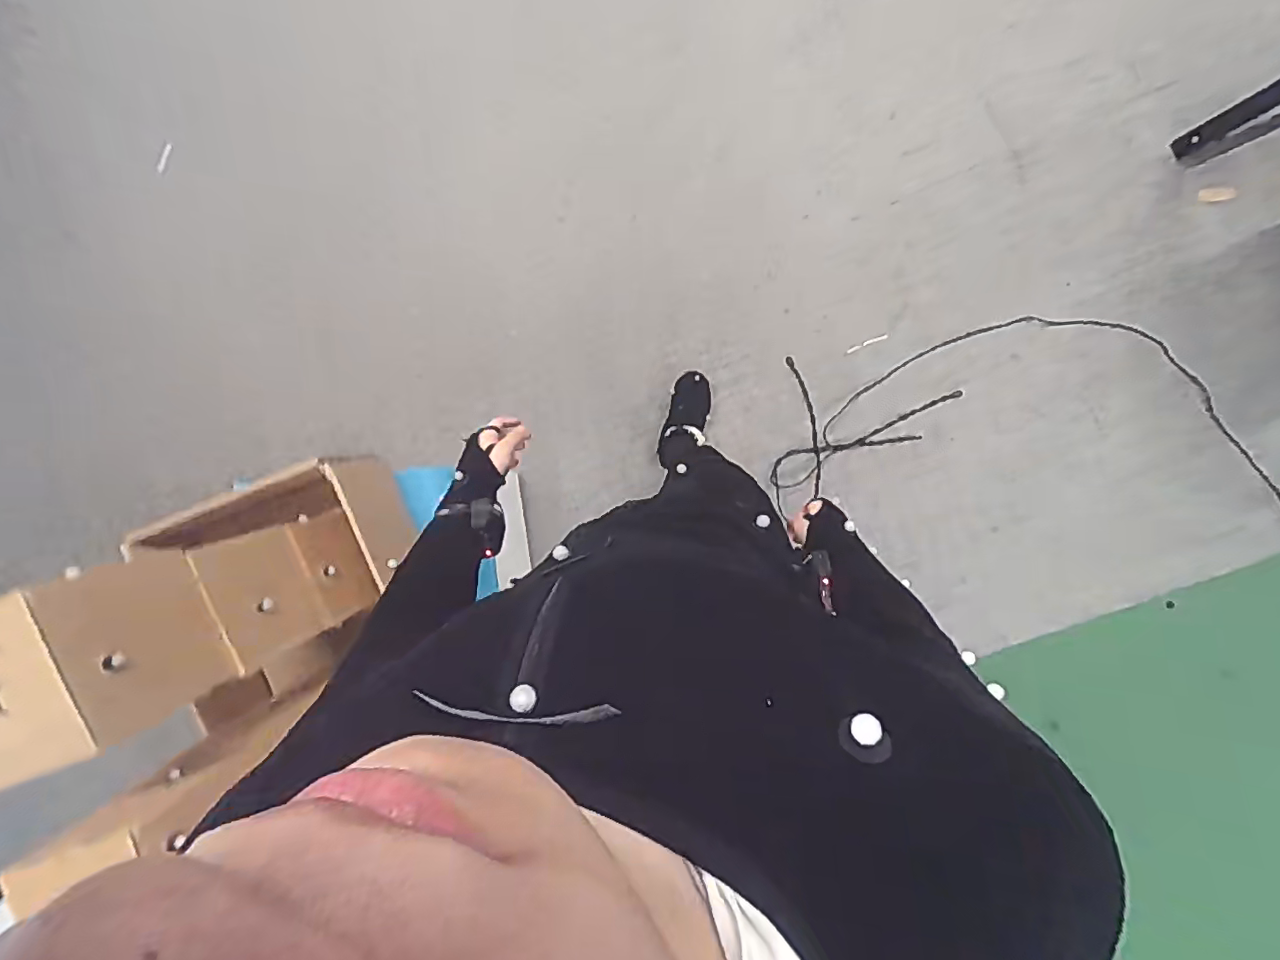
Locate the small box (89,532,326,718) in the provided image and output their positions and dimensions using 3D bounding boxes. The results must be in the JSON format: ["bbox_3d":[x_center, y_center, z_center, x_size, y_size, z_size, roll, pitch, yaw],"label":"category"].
[{"bbox_3d":[-0.594,0.194,0.770,0.168,0.176,0.179,-22,95,6],"label":"small box"}]
